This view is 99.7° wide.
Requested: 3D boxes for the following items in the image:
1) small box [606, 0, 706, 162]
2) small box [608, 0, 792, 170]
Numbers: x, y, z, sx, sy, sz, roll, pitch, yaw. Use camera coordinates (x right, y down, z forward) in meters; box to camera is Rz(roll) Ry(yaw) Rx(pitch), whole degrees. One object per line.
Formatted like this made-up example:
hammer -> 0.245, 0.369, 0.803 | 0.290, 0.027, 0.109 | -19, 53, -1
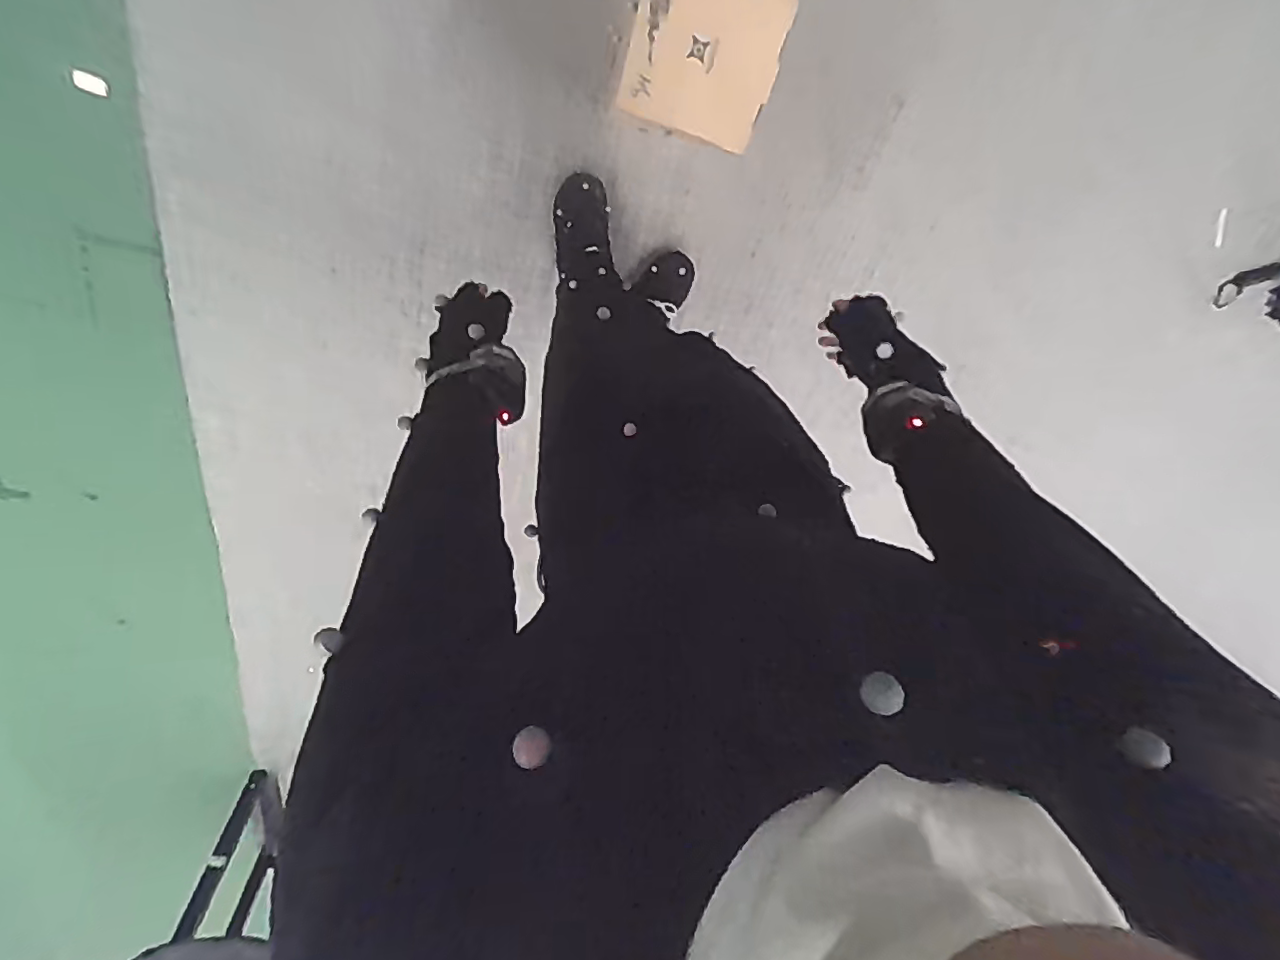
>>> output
small box -> 0.043, -0.625, 0.846 | 0.168, 0.176, 0.179 | 11, 122, -12
small box -> 0.064, -0.534, 0.712 | 0.179, 0.176, 0.168 | 13, 120, -14
